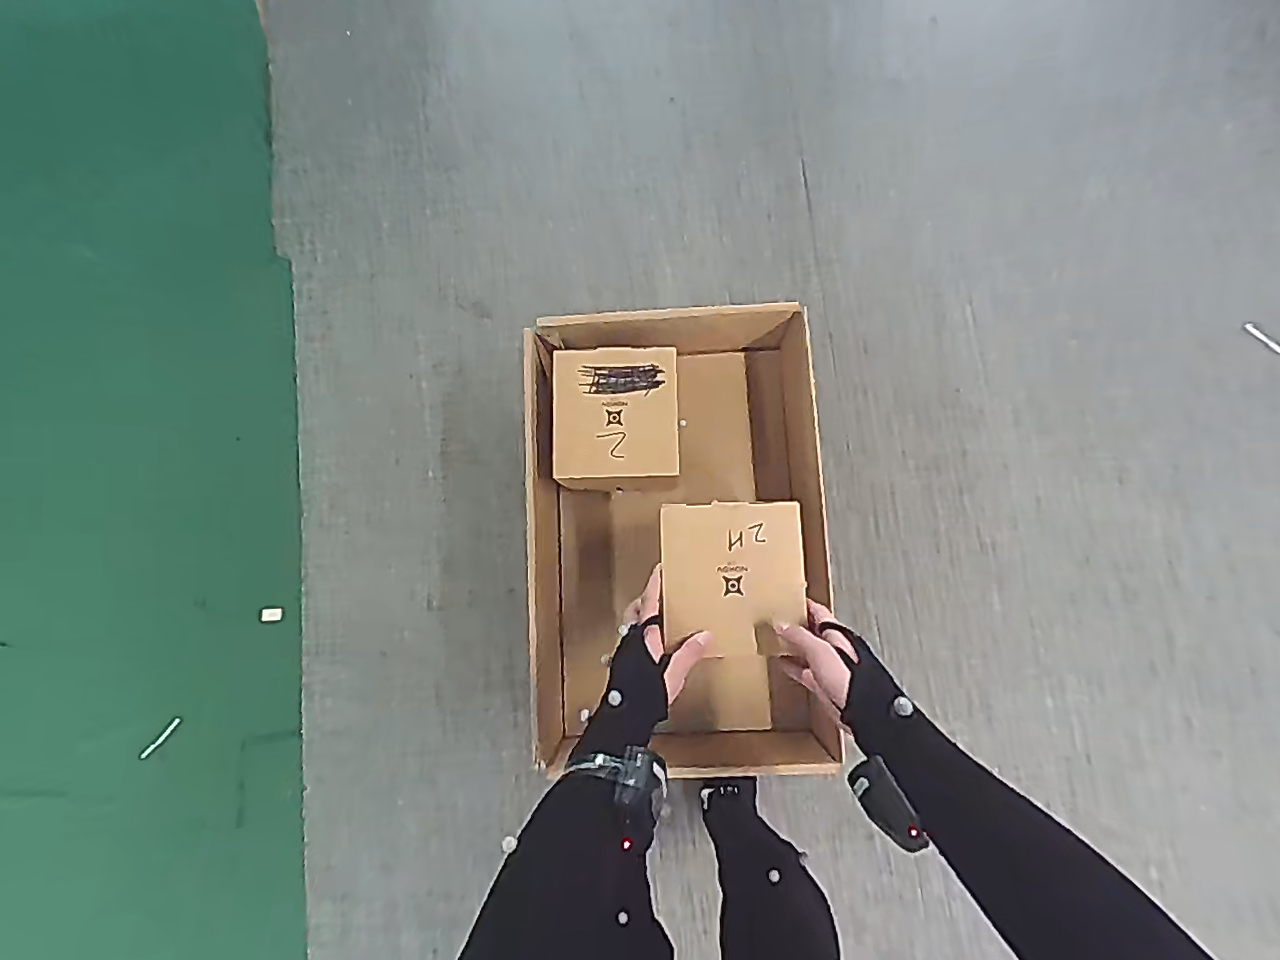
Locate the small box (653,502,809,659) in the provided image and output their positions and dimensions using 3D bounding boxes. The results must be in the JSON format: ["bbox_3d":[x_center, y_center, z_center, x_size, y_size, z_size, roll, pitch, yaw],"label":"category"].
[{"bbox_3d":[0.105,0.123,0.689,0.168,0.176,0.179,0,81,-3],"label":"small box"}]
